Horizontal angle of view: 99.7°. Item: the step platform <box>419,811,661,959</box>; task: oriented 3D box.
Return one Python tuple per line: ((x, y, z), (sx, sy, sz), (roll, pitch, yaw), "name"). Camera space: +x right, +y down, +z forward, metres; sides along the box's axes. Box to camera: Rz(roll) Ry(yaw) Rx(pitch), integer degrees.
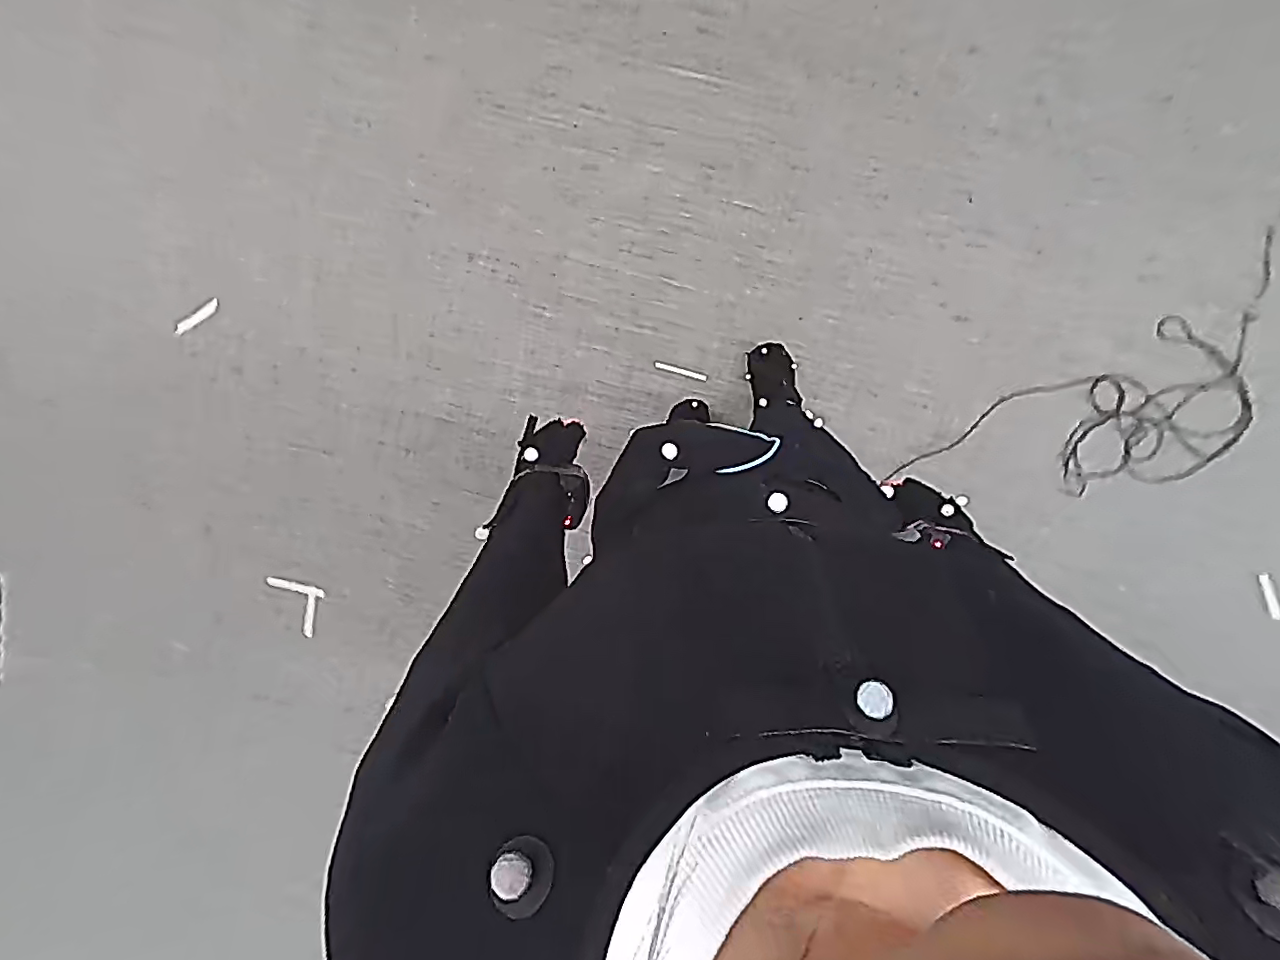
((-0.288, 1.242, 1.589), (0.684, 0.204, 0.286), (15, 100, 3), "step platform")
